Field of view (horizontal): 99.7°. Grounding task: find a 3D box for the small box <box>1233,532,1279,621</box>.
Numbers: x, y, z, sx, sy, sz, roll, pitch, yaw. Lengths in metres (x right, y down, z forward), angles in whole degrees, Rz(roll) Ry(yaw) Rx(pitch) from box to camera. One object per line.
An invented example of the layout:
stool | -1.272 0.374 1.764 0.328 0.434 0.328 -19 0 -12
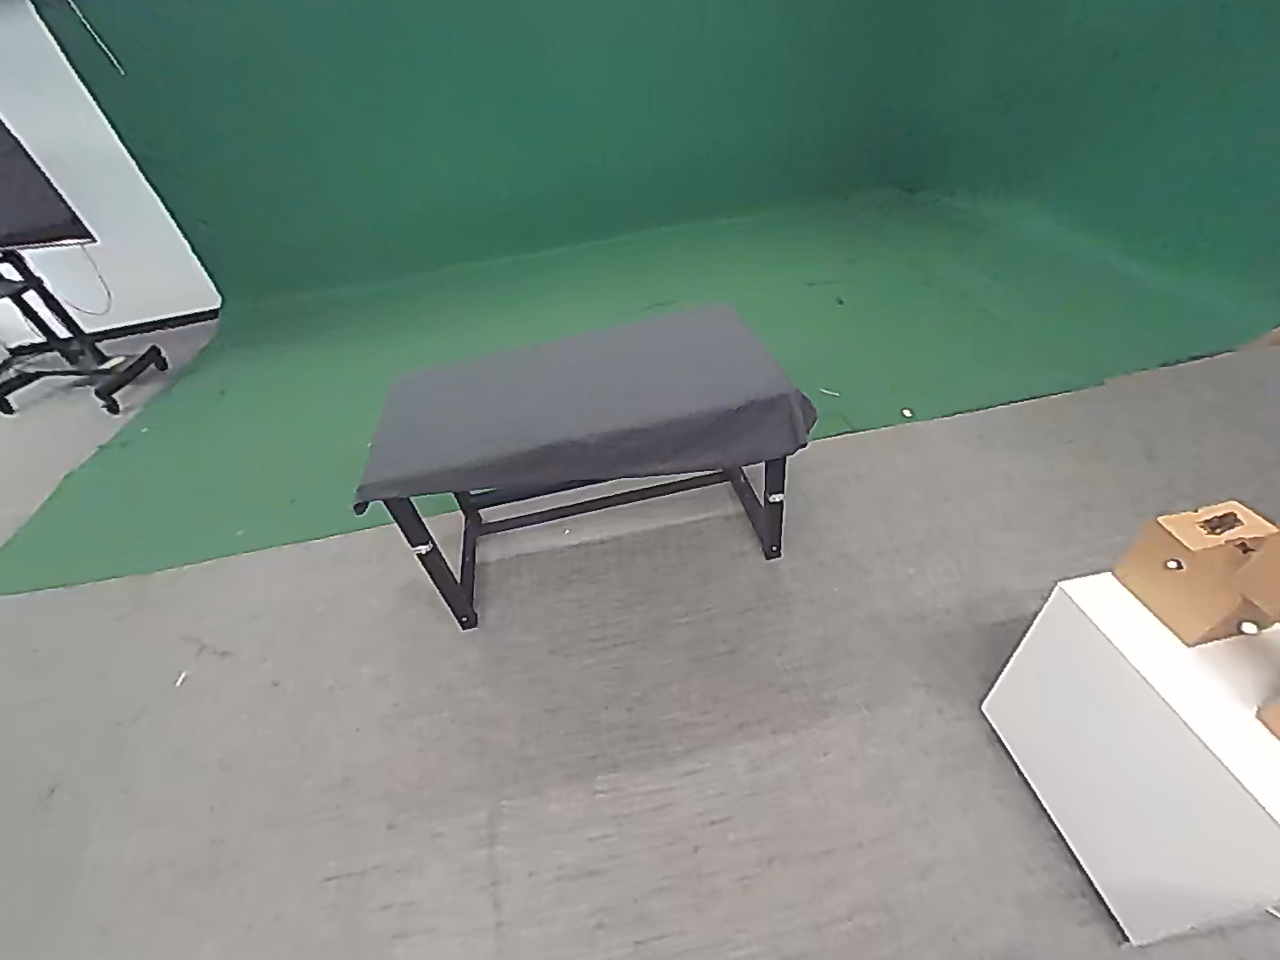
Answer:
small box | 1.035 0.146 0.761 0.168 0.176 0.179 -12 43 -3

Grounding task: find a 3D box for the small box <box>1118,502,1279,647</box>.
small box | 1.035 0.171 0.977 0.168 0.176 0.179 -13 43 -2
